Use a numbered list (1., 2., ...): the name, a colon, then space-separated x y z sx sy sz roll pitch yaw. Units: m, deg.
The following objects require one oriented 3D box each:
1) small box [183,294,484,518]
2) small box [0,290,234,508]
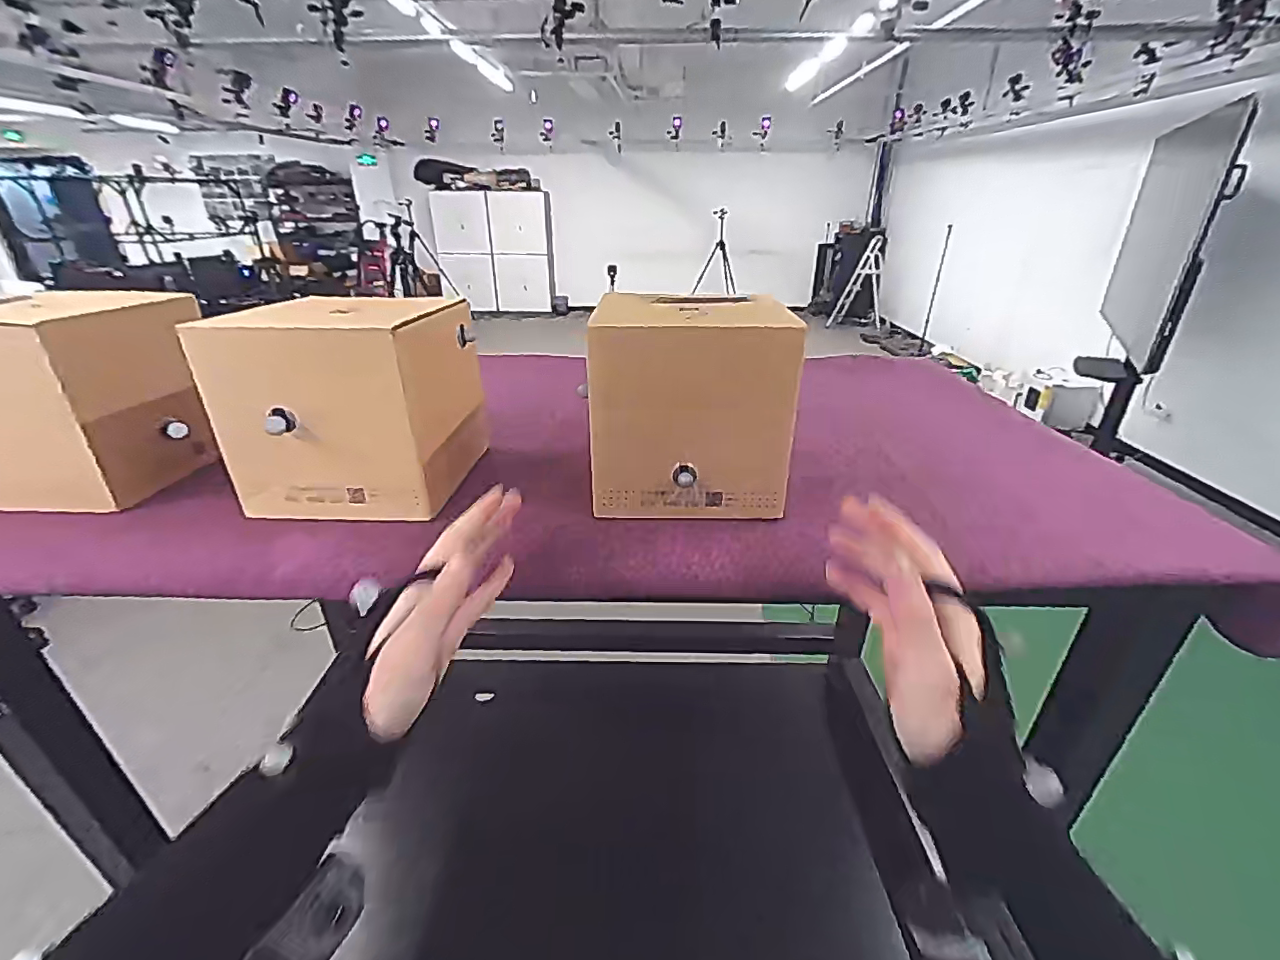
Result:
1. small box: -0.255 -0.074 0.507 0.168 0.176 0.179 1 25 2
2. small box: -0.538 -0.083 0.516 0.179 0.176 0.168 1 27 1
